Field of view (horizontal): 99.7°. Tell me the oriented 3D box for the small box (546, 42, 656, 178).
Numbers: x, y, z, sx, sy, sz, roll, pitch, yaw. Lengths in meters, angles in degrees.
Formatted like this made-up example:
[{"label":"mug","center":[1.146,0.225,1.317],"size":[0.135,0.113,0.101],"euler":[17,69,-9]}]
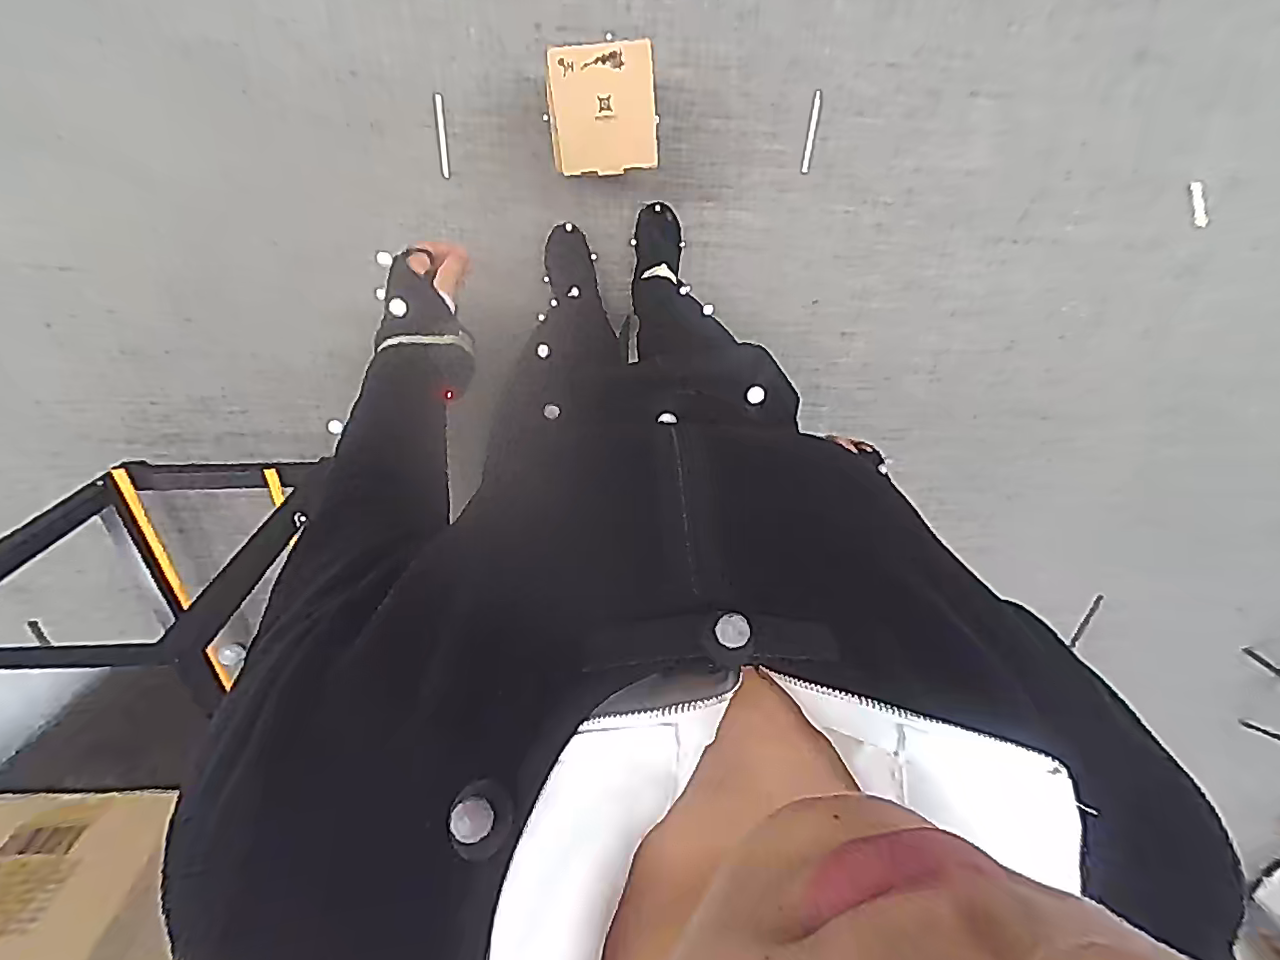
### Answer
[{"label":"small box","center":[-0.062,-0.638,0.944],"size":[0.168,0.176,0.179],"euler":[-6,121,-1]}]
